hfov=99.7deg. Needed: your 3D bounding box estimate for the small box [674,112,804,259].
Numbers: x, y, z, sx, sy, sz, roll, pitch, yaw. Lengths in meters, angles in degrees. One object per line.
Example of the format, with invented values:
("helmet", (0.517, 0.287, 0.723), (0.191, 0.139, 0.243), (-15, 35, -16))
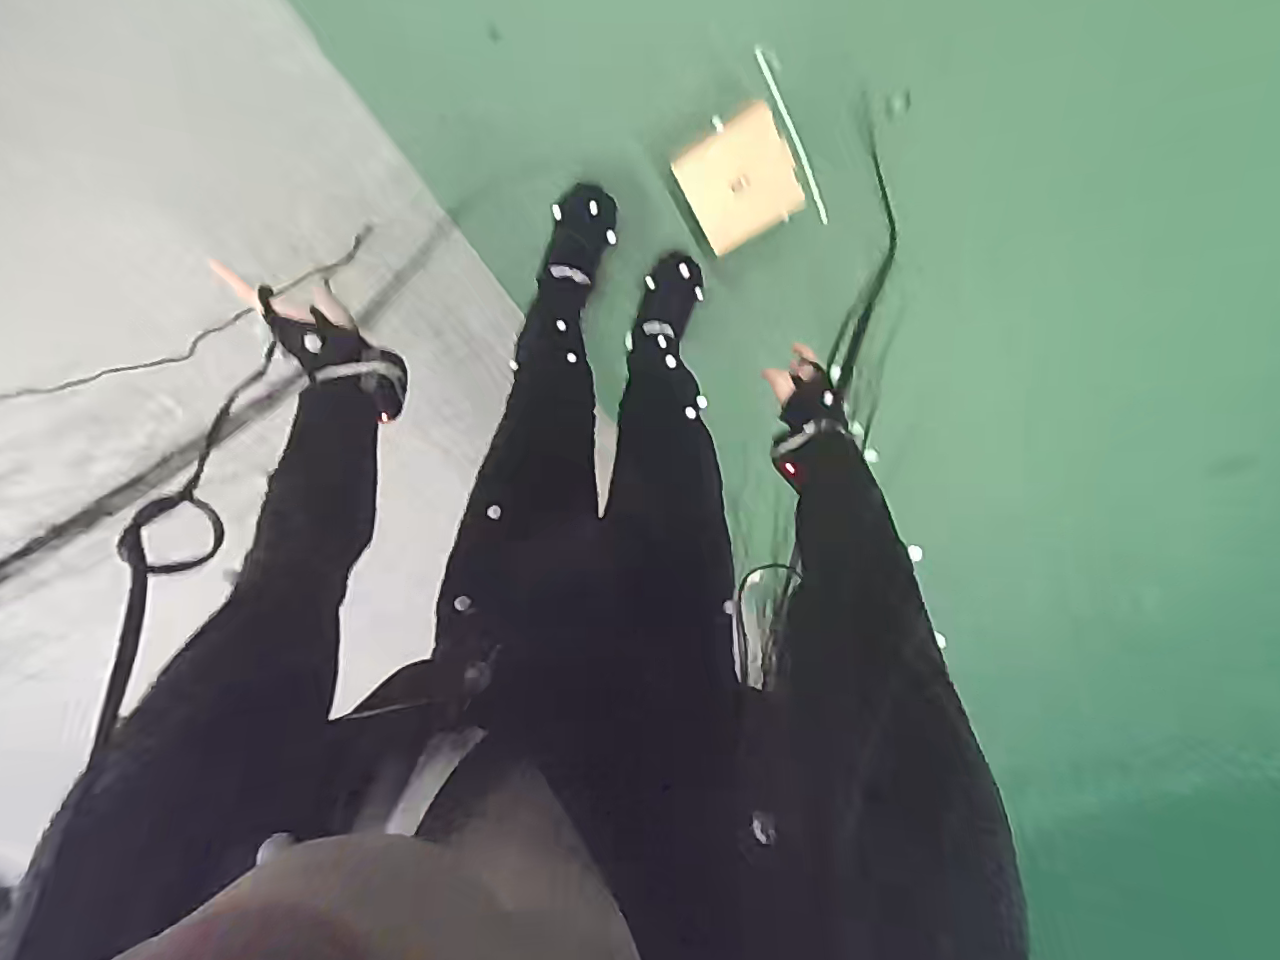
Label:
("small box", (0.178, -0.541, 0.994), (0.179, 0.176, 0.168), (-25, 120, 20))
